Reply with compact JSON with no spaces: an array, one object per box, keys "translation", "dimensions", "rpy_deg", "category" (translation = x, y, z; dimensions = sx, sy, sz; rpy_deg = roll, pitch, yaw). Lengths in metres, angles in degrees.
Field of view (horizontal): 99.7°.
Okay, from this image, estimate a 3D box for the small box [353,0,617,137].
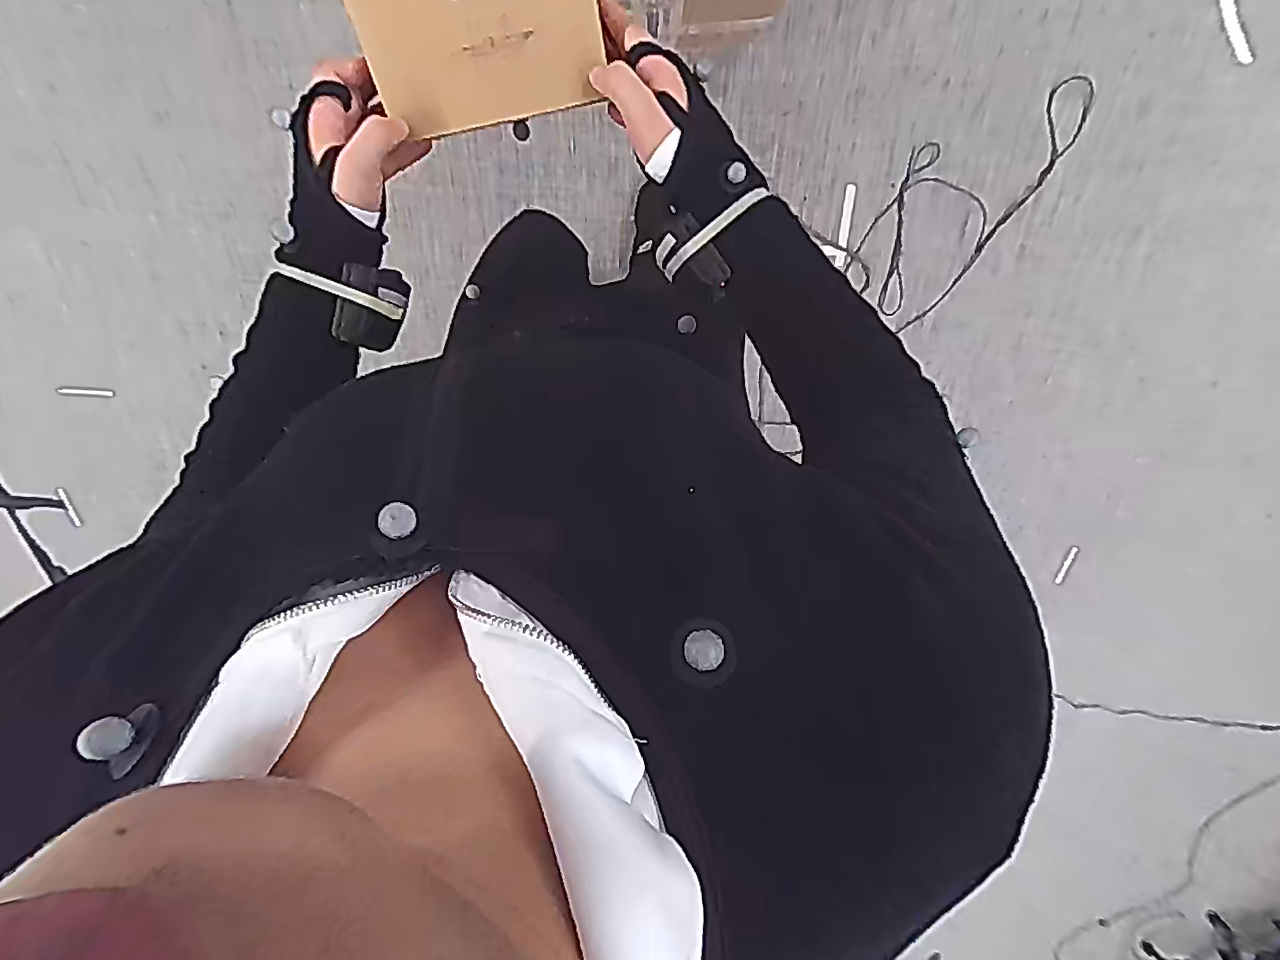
[{"translation":[-0.115,-0.386,0.416],"dimensions":[0.168,0.176,0.179],"rpy_deg":[-9,127,6],"category":"small box"}]
